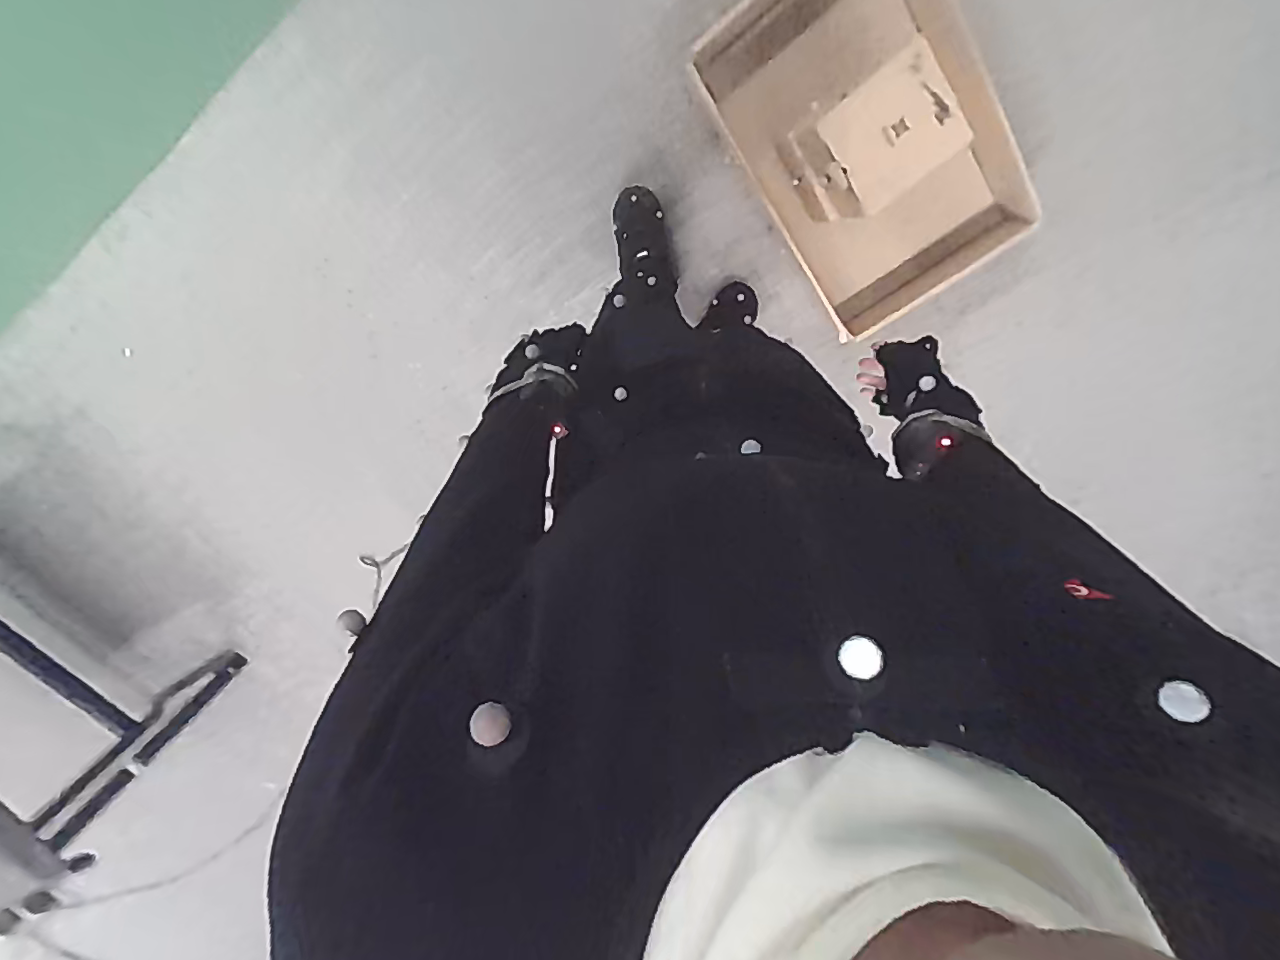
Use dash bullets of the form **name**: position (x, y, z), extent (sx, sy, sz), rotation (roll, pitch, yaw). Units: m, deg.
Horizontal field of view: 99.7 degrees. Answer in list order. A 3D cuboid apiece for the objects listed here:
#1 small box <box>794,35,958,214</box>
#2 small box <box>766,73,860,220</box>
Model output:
- **small box**: position (0.369, -0.560, 0.884), extent (0.179, 0.176, 0.168), rotation (-33, 109, 19)
- **small box**: position (0.364, -0.632, 1.048), extent (0.168, 0.176, 0.179), rotation (-30, 109, 16)
